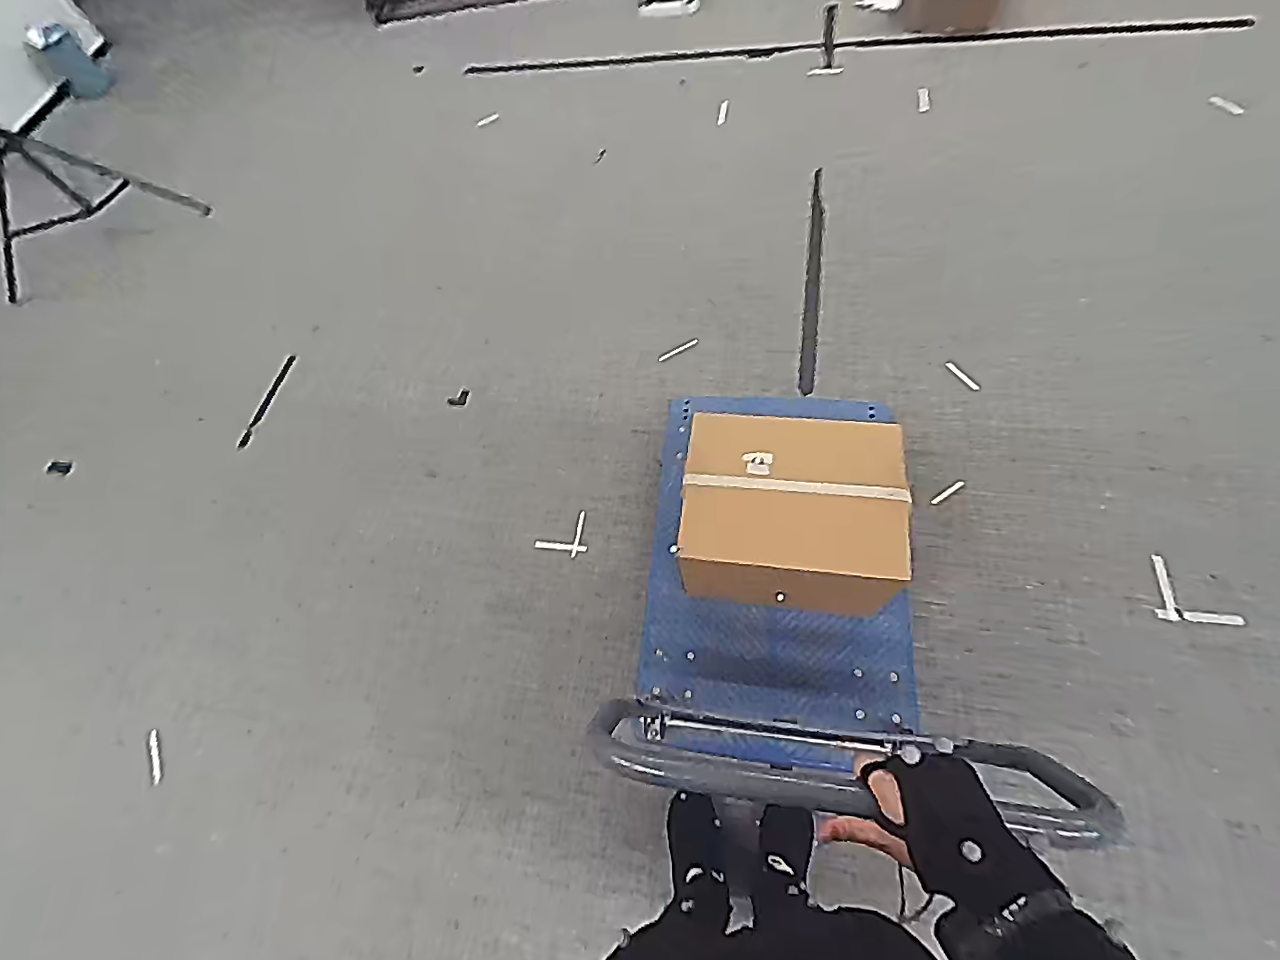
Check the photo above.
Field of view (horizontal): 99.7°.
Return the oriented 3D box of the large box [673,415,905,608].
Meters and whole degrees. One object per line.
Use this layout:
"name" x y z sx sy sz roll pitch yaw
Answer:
"large box" 0.298 0.075 1.144 0.408 0.320 0.320 3 64 11
